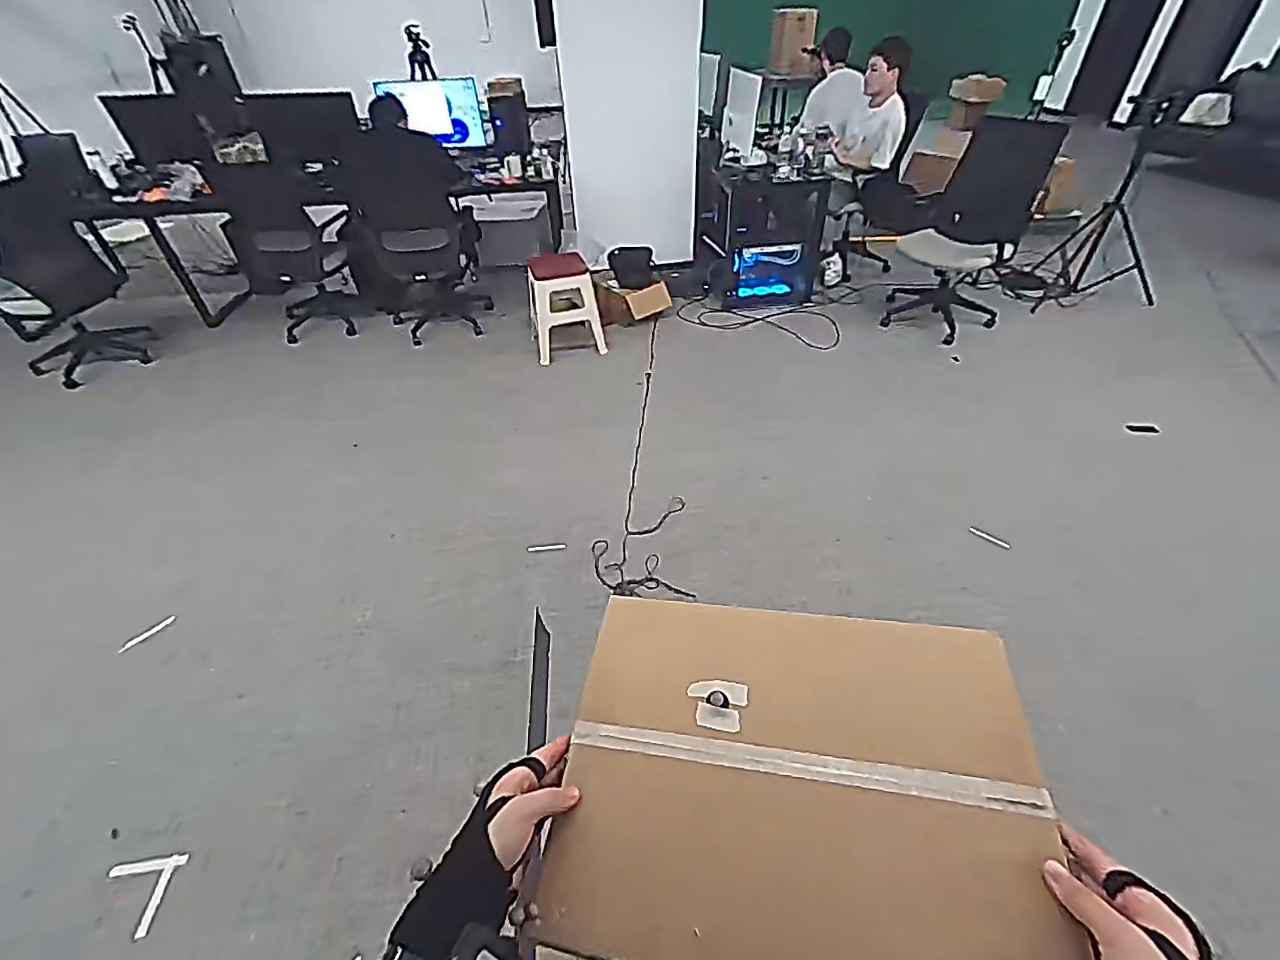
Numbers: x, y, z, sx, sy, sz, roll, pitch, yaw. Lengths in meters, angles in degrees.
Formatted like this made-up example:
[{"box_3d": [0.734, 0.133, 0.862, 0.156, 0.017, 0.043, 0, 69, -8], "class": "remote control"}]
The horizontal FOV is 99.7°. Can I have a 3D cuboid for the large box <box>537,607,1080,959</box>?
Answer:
[{"box_3d": [0.157, 0.364, 0.597, 0.408, 0.320, 0.320, 1, 45, 14], "class": "large box"}]
